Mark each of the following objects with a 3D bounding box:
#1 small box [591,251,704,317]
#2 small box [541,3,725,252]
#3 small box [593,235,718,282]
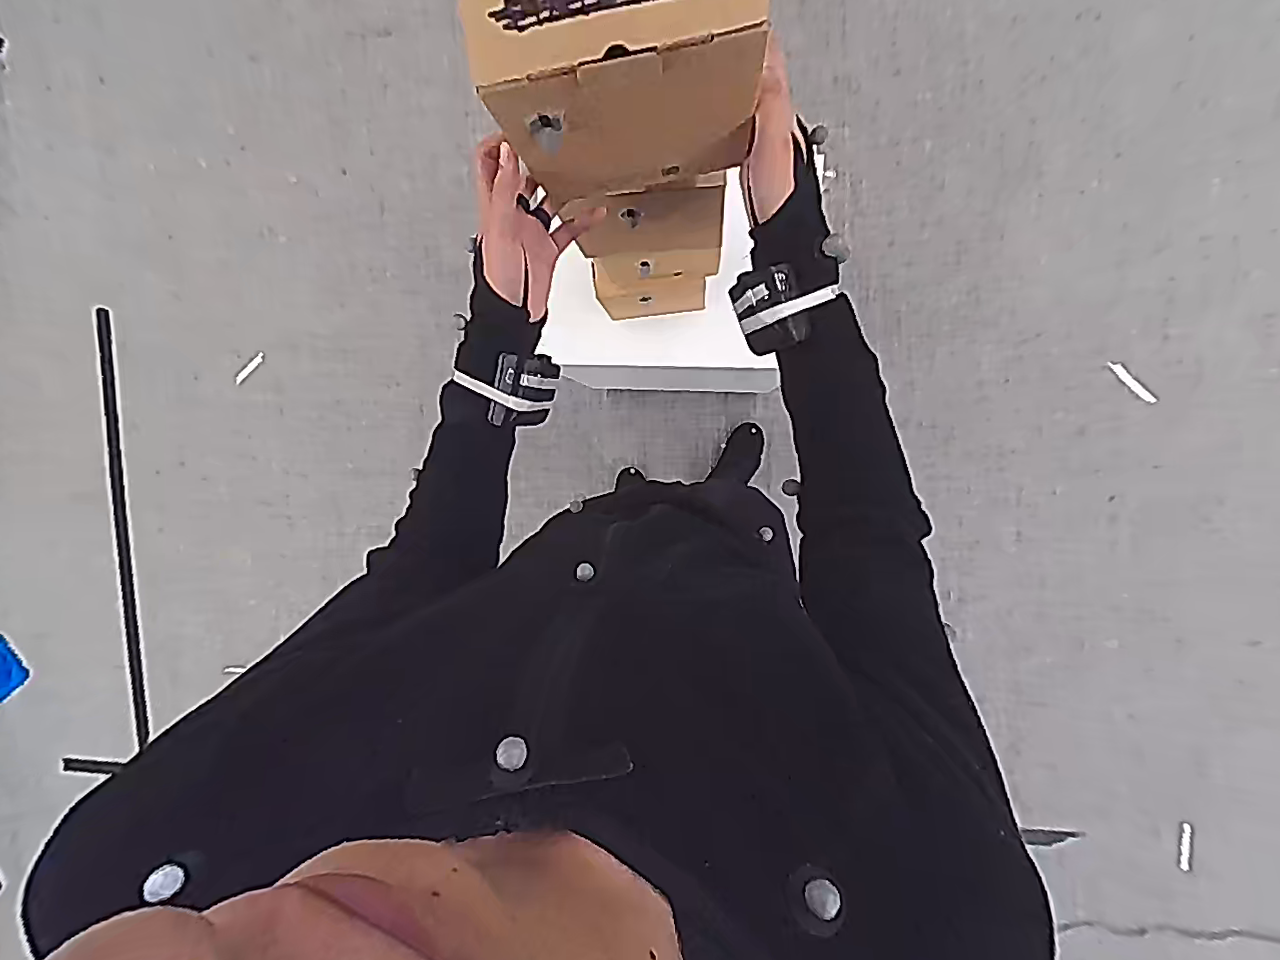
[{"bbox_3d":[0.016,-0.384,0.921,0.179,0.176,0.168,-5,94,6],"label":"small box"},{"bbox_3d":[0.002,-0.363,0.594,0.179,0.176,0.168,-1,94,6],"label":"small box"},{"bbox_3d":[0.023,-0.388,0.756,0.168,0.176,0.179,-4,93,7],"label":"small box"}]
